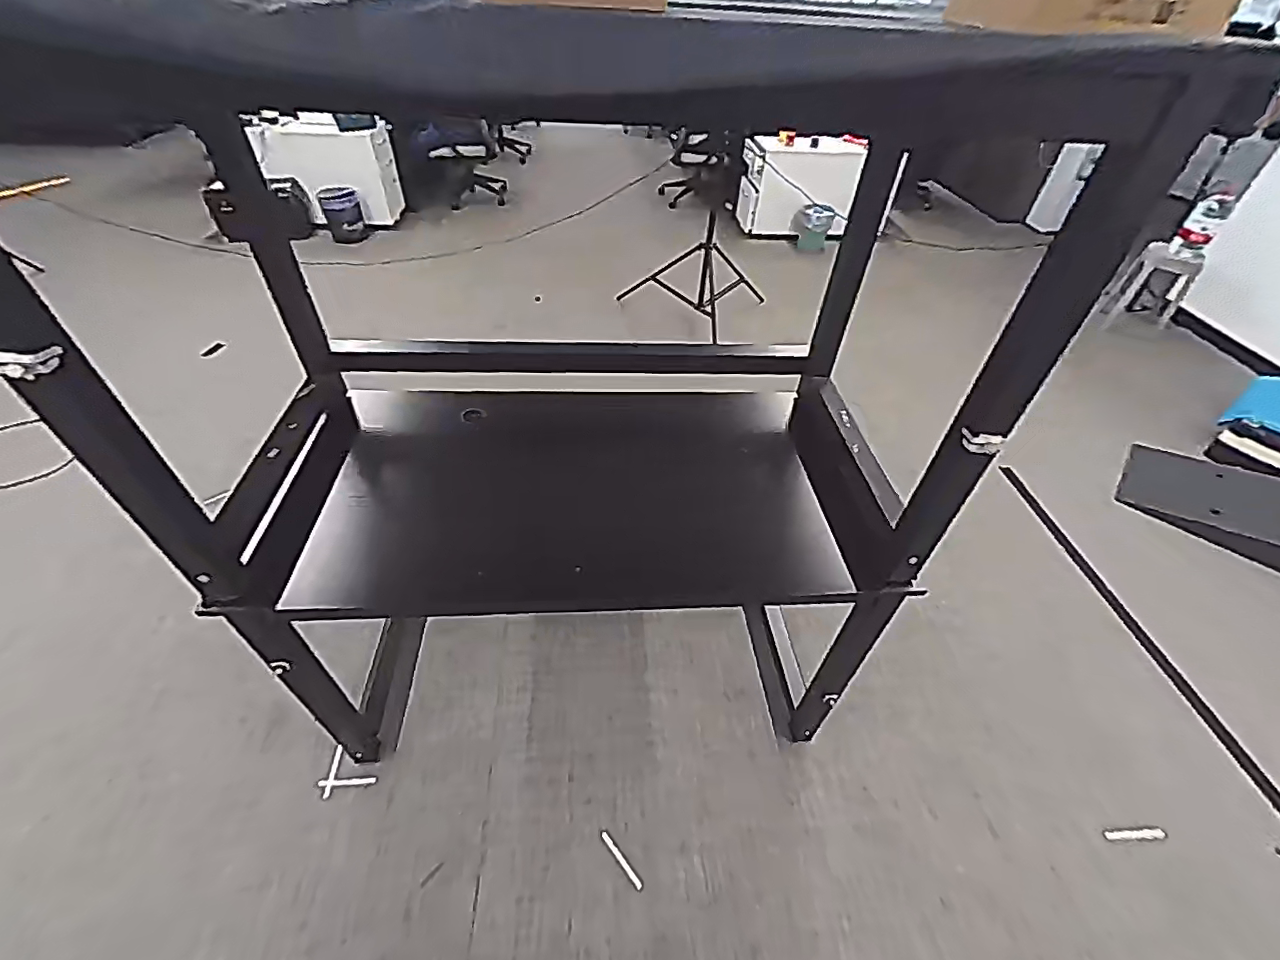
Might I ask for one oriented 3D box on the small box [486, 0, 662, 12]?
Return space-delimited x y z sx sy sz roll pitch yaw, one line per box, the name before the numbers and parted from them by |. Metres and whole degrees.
small box | -0.061 -0.520 0.468 0.168 0.176 0.179 -1 42 -5
